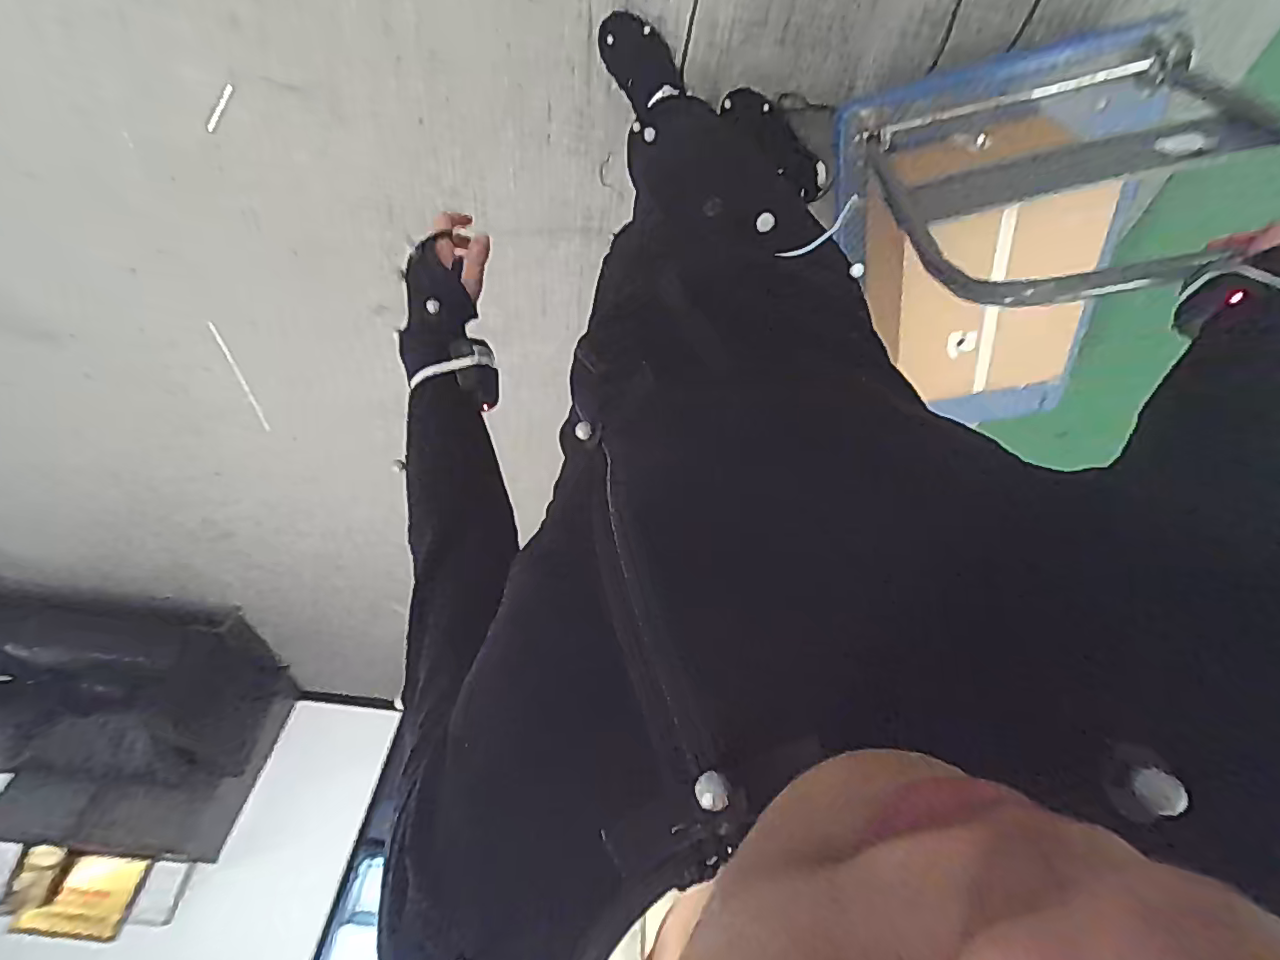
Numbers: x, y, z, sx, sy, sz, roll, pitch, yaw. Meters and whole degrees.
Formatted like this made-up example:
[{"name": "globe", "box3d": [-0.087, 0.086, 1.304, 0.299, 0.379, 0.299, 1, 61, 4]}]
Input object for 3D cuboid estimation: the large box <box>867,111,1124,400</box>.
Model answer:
[{"name": "large box", "box3d": [0.655, -0.436, 1.088, 0.320, 0.320, 0.408, -8, 135, 15]}]
